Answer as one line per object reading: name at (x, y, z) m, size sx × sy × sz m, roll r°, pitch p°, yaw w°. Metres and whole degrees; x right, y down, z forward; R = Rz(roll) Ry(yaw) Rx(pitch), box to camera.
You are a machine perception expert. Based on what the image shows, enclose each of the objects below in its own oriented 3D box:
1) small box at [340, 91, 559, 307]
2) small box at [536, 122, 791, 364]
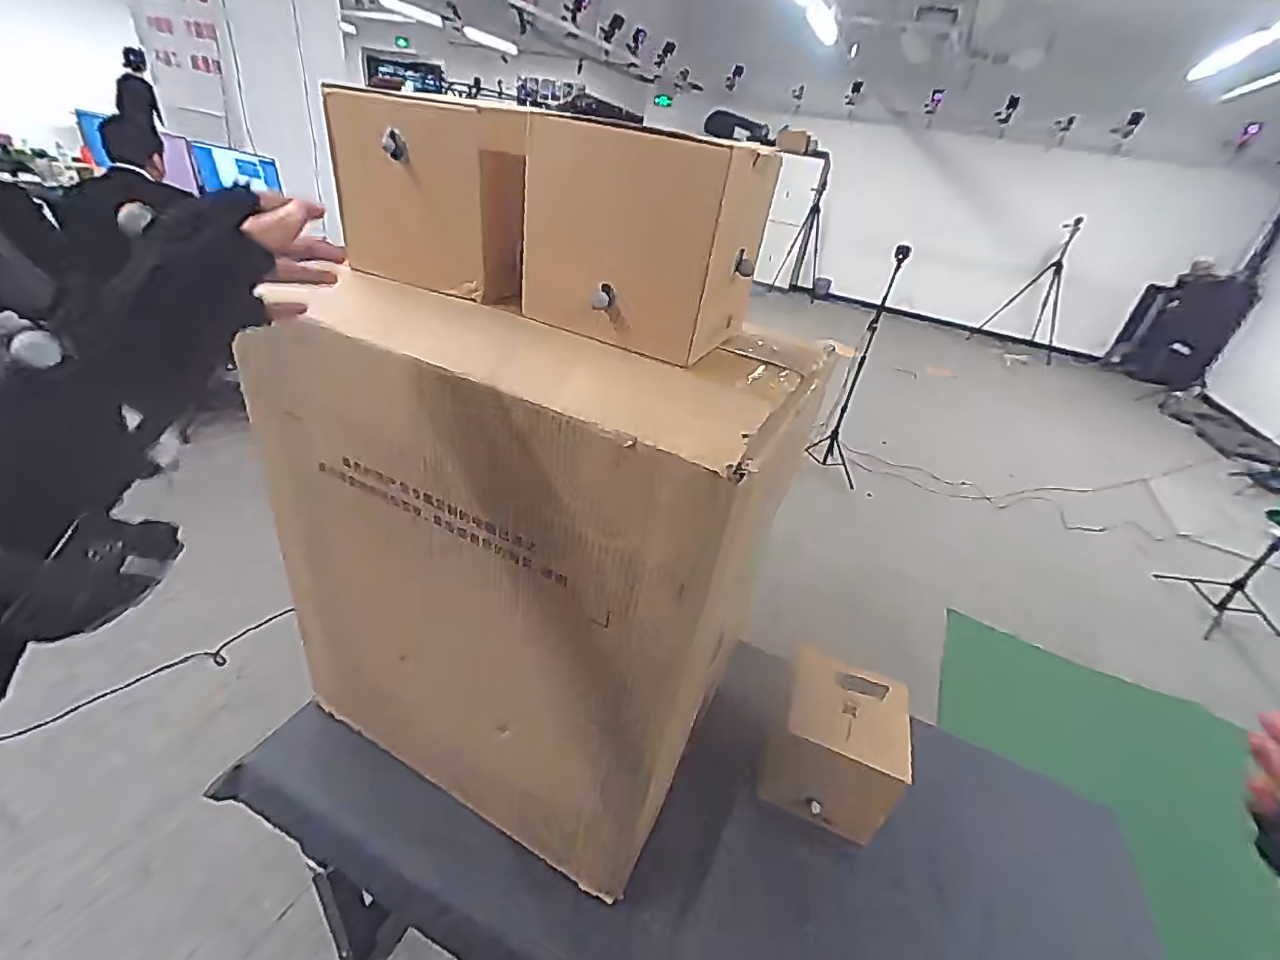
small box at (-0.180, -0.298, 0.581) m, size 0.179 × 0.176 × 0.168 m, roll 19°, pitch 35°, yaw 15°
small box at (0.019, -0.223, 0.516) m, size 0.179 × 0.176 × 0.168 m, roll 22°, pitch 33°, yaw 17°
